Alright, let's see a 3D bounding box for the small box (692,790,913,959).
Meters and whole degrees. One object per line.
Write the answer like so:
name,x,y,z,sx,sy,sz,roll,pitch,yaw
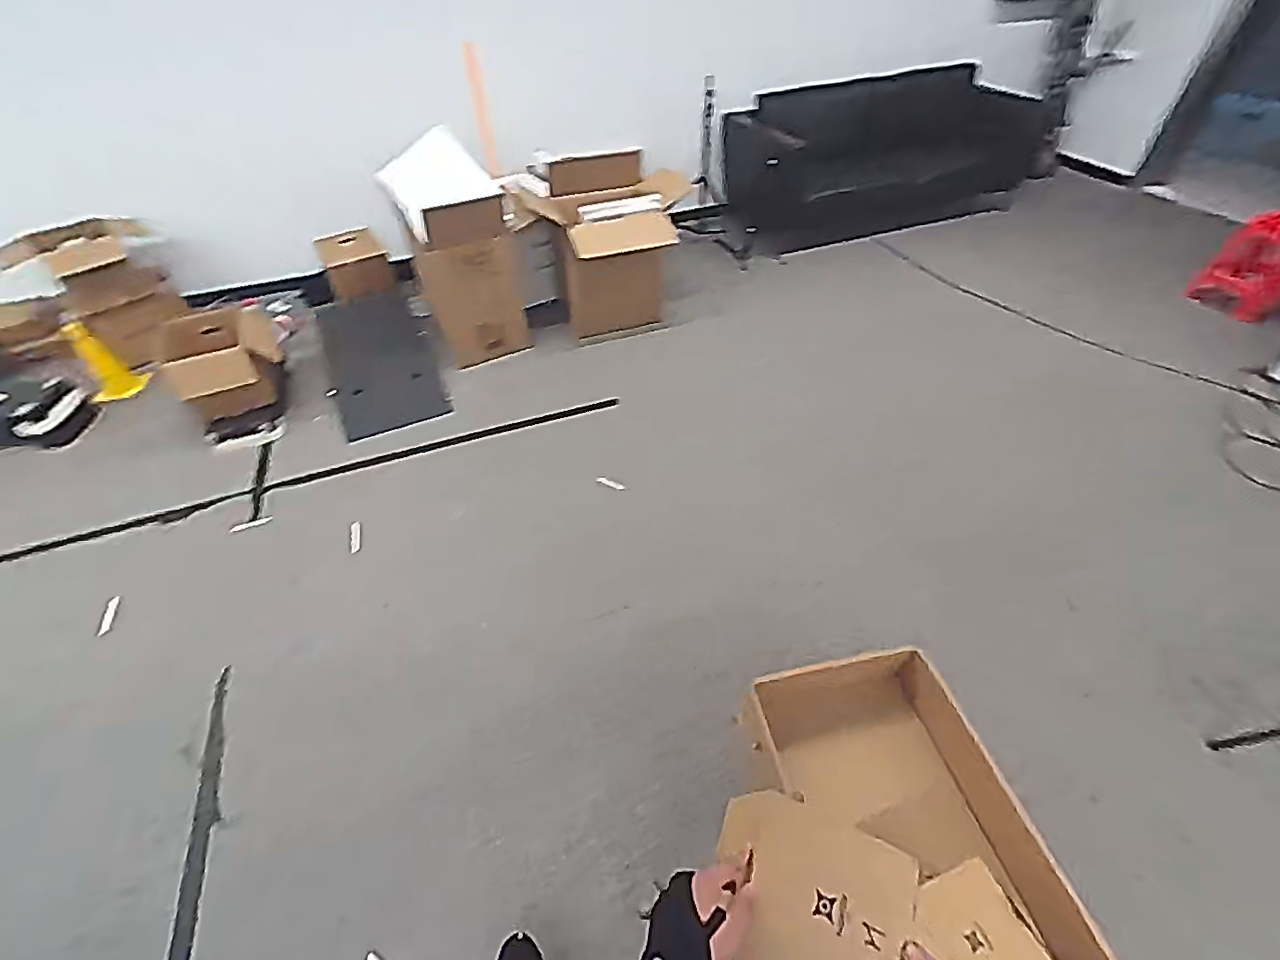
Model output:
small box,0.173,0.478,0.607,0.179,0.176,0.168,22,55,5
